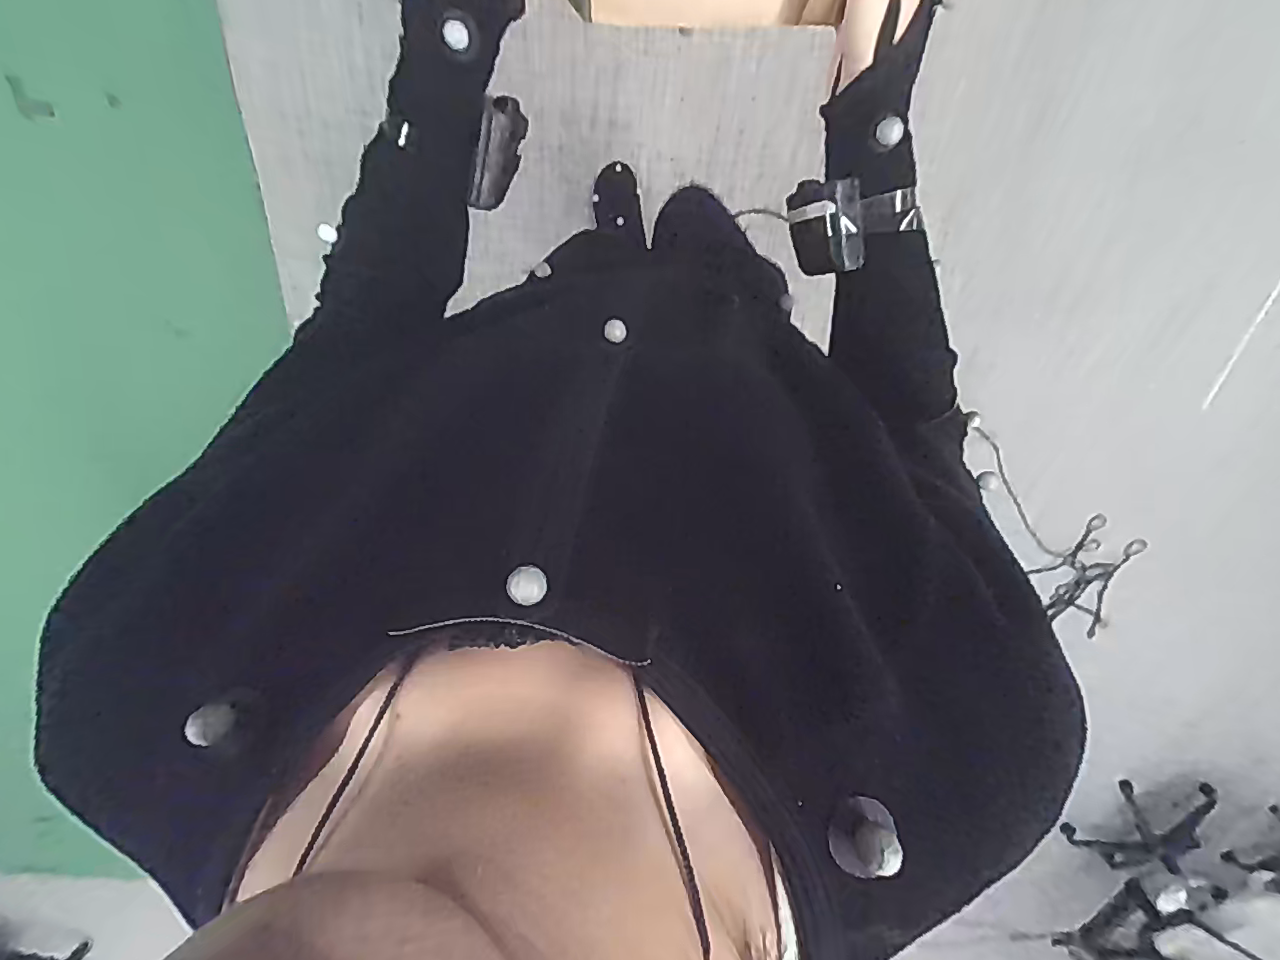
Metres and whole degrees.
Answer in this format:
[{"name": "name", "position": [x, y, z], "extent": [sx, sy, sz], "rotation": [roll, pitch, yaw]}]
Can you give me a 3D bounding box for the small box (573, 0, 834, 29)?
[{"name": "small box", "position": [0.029, -0.402, 0.321], "extent": [0.179, 0.176, 0.168], "rotation": [-11, 147, -15]}]
